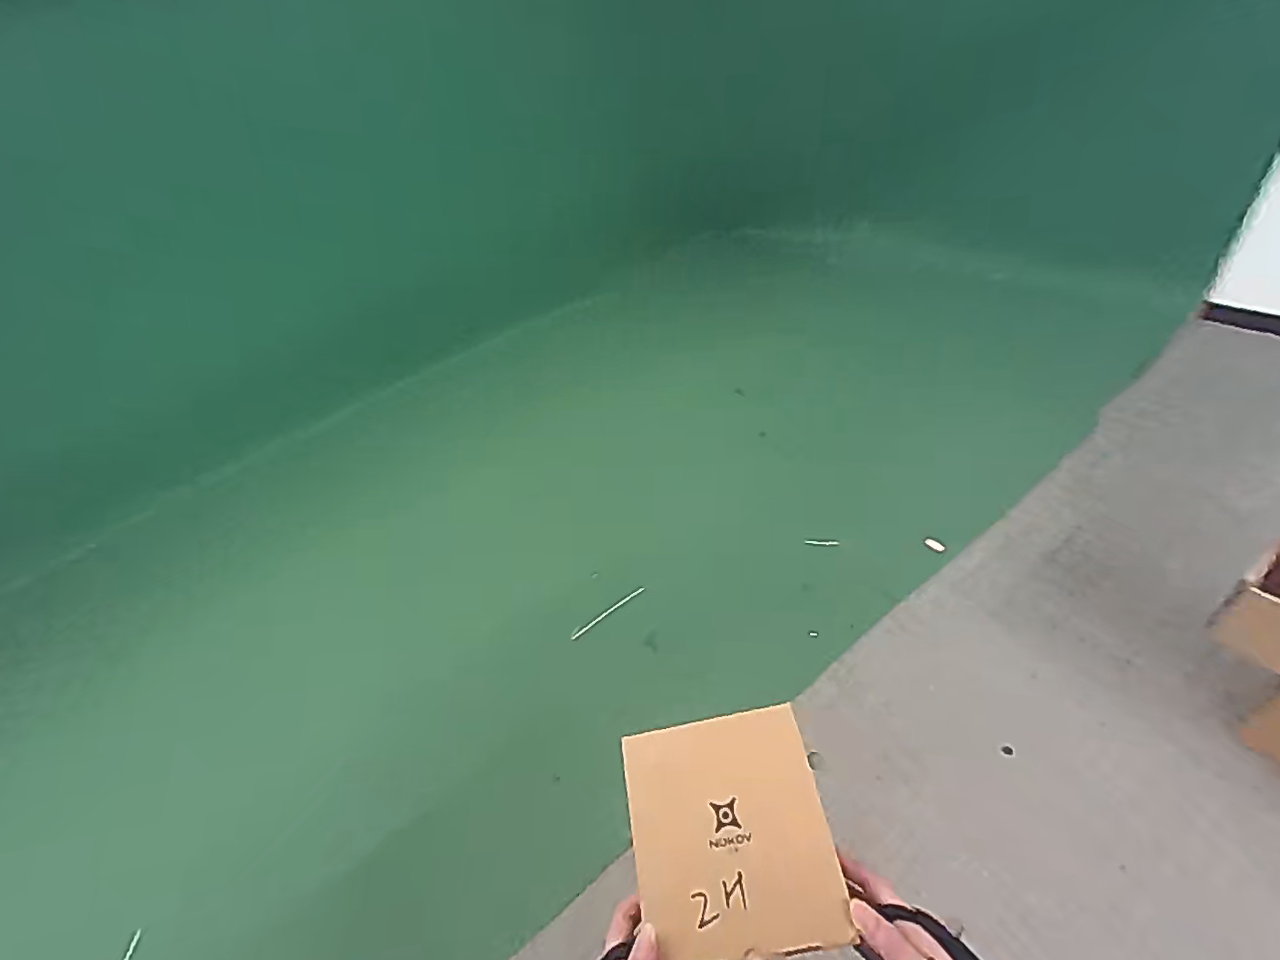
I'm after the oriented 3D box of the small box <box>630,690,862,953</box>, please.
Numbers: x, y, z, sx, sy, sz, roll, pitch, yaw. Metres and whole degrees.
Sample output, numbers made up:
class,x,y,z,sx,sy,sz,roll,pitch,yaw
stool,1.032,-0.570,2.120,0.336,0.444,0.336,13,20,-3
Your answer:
class,x,y,z,sx,sy,sz,roll,pitch,yaw
small box,0.093,0.328,0.525,0.168,0.176,0.179,-13,53,5
